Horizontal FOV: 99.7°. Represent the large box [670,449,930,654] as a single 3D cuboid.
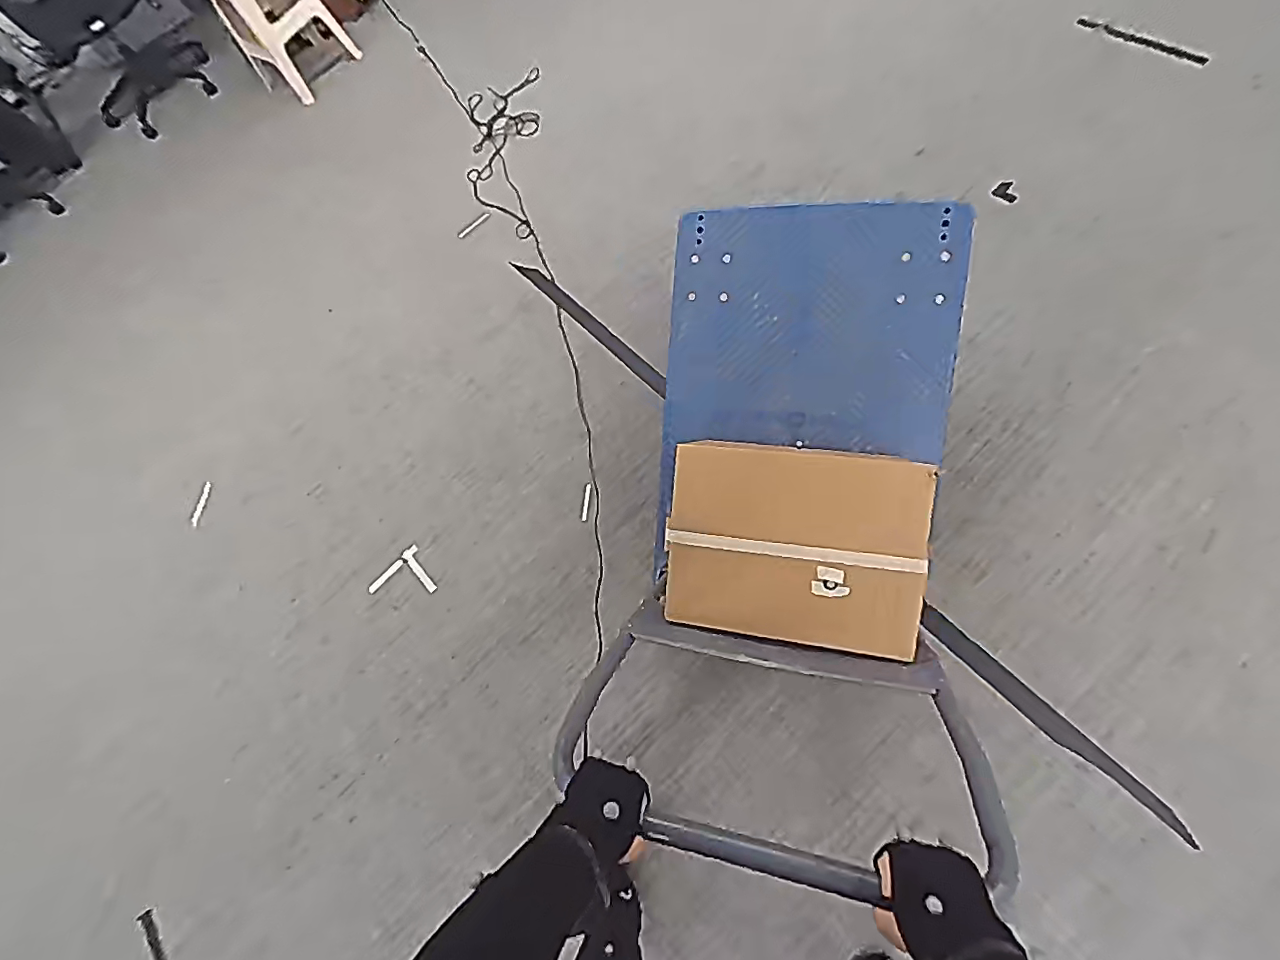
[{"bbox_3d":[0.287,0.104,1.043,0.408,0.320,0.320,5,97,15],"label":"large box"}]
